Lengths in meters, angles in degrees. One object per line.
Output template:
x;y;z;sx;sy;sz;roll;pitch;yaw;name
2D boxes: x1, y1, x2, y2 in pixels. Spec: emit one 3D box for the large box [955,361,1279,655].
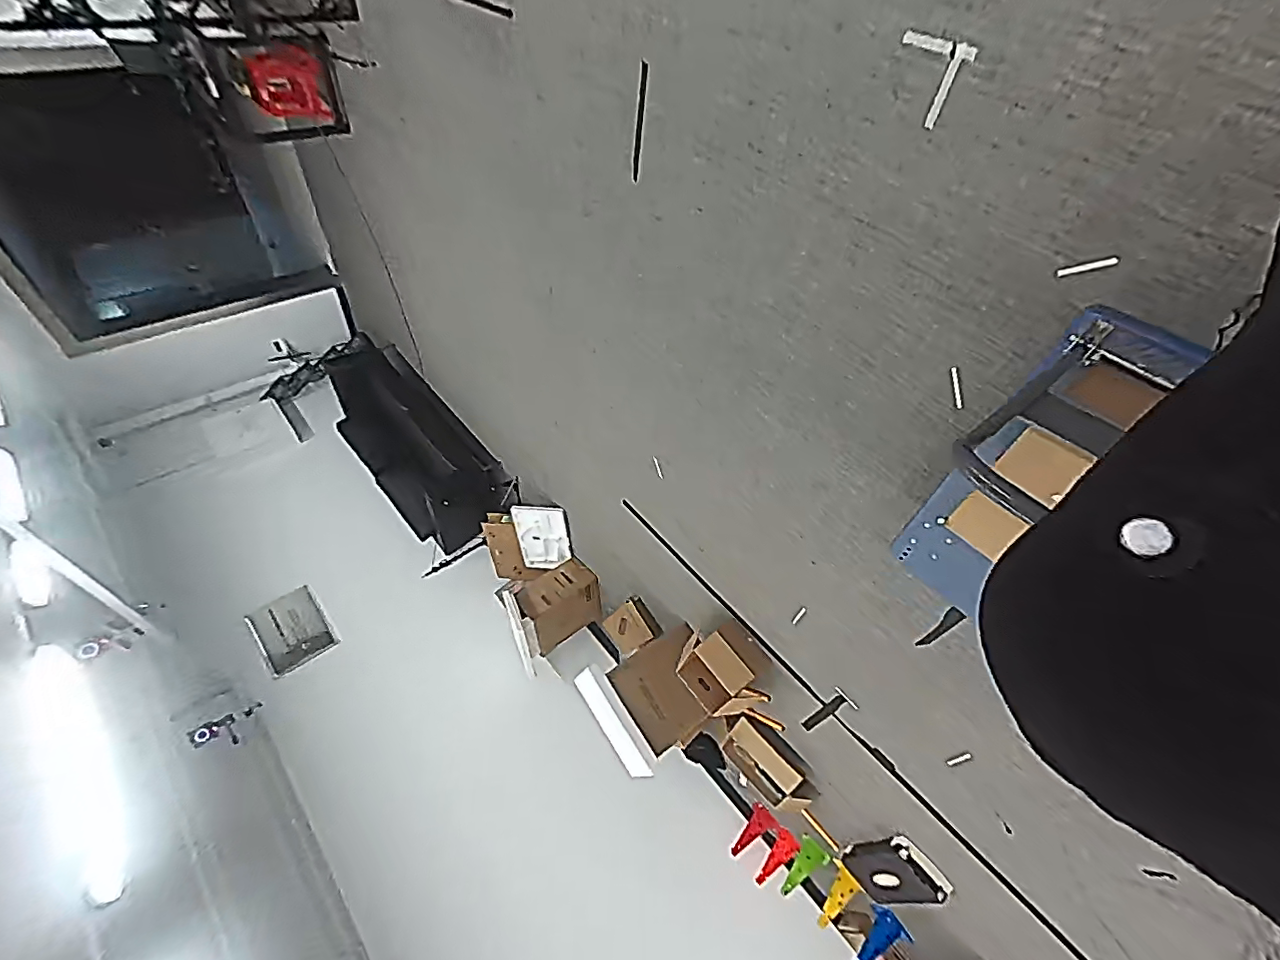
0.933;0.038;1.034;0.408;0.320;0.320;45;147;28;large box
